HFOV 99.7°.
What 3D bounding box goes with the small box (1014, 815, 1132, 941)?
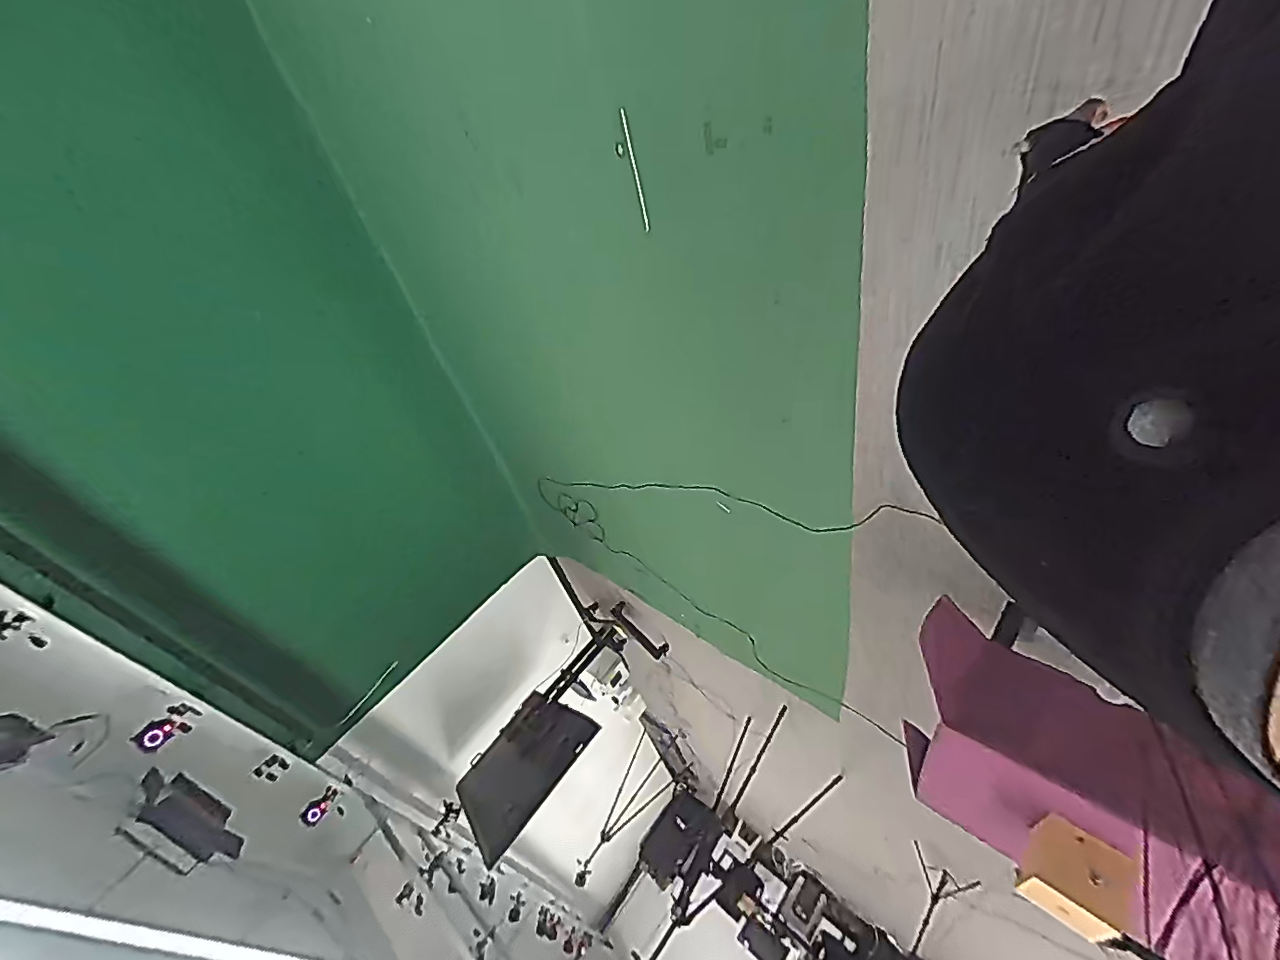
[{"bbox_3d":[1.026,0.936,1.282,0.168,0.176,0.179,25,147,34],"label":"small box"}]
